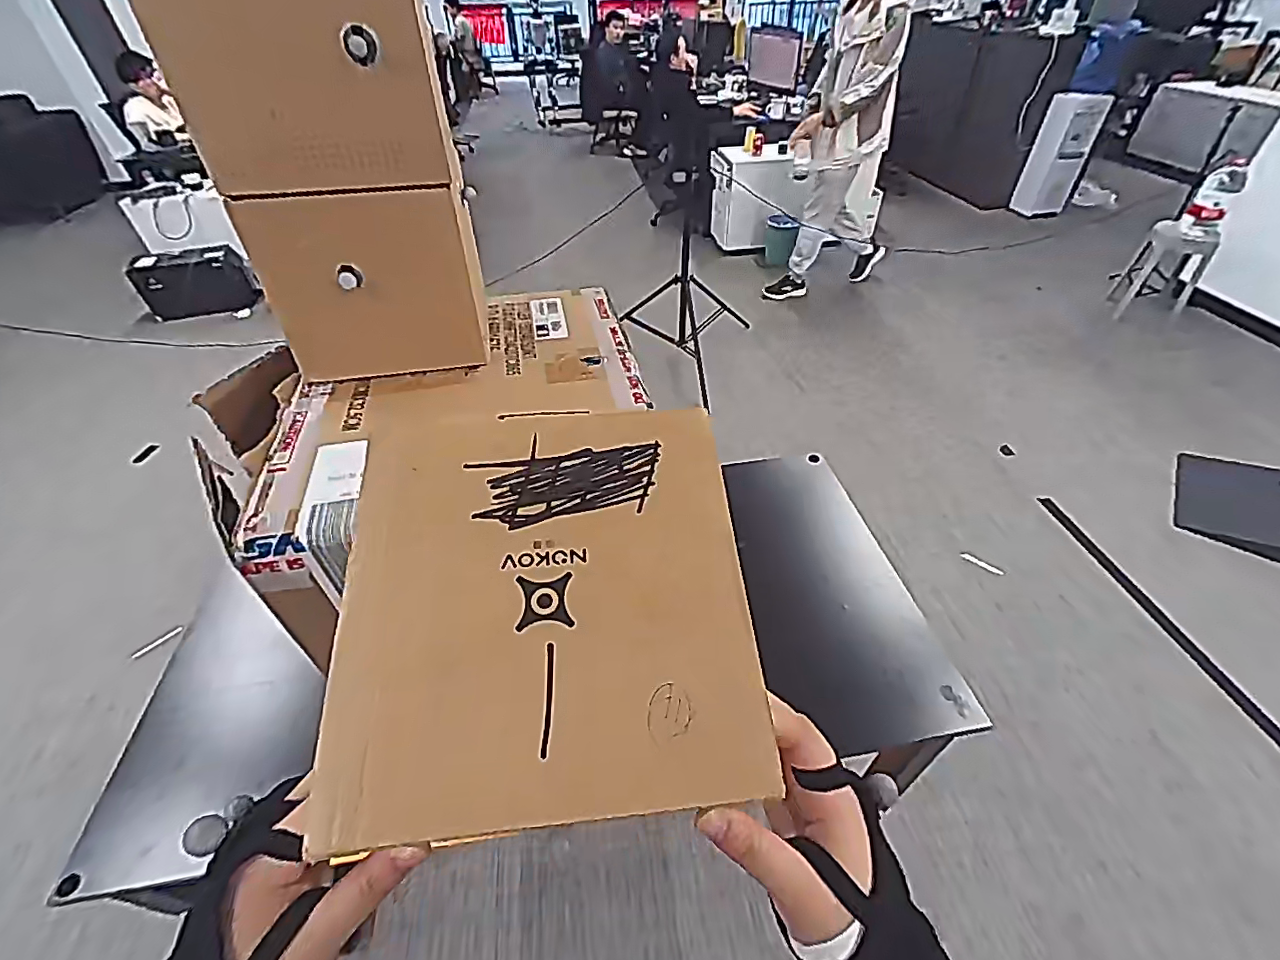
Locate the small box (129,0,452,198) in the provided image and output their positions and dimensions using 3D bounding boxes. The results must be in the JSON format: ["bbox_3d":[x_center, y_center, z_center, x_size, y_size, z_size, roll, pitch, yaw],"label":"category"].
[{"bbox_3d":[-0.255,-0.339,0.432,0.179,0.176,0.168,-11,41,-11],"label":"small box"}]

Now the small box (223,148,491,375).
[{"bbox_3d":[-0.256,-0.218,0.543,0.179,0.176,0.168,-9,42,-9],"label":"small box"}]

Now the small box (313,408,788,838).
[{"bbox_3d":[-0.039,0.081,0.296,0.168,0.176,0.179,-4,60,-5],"label":"small box"}]
